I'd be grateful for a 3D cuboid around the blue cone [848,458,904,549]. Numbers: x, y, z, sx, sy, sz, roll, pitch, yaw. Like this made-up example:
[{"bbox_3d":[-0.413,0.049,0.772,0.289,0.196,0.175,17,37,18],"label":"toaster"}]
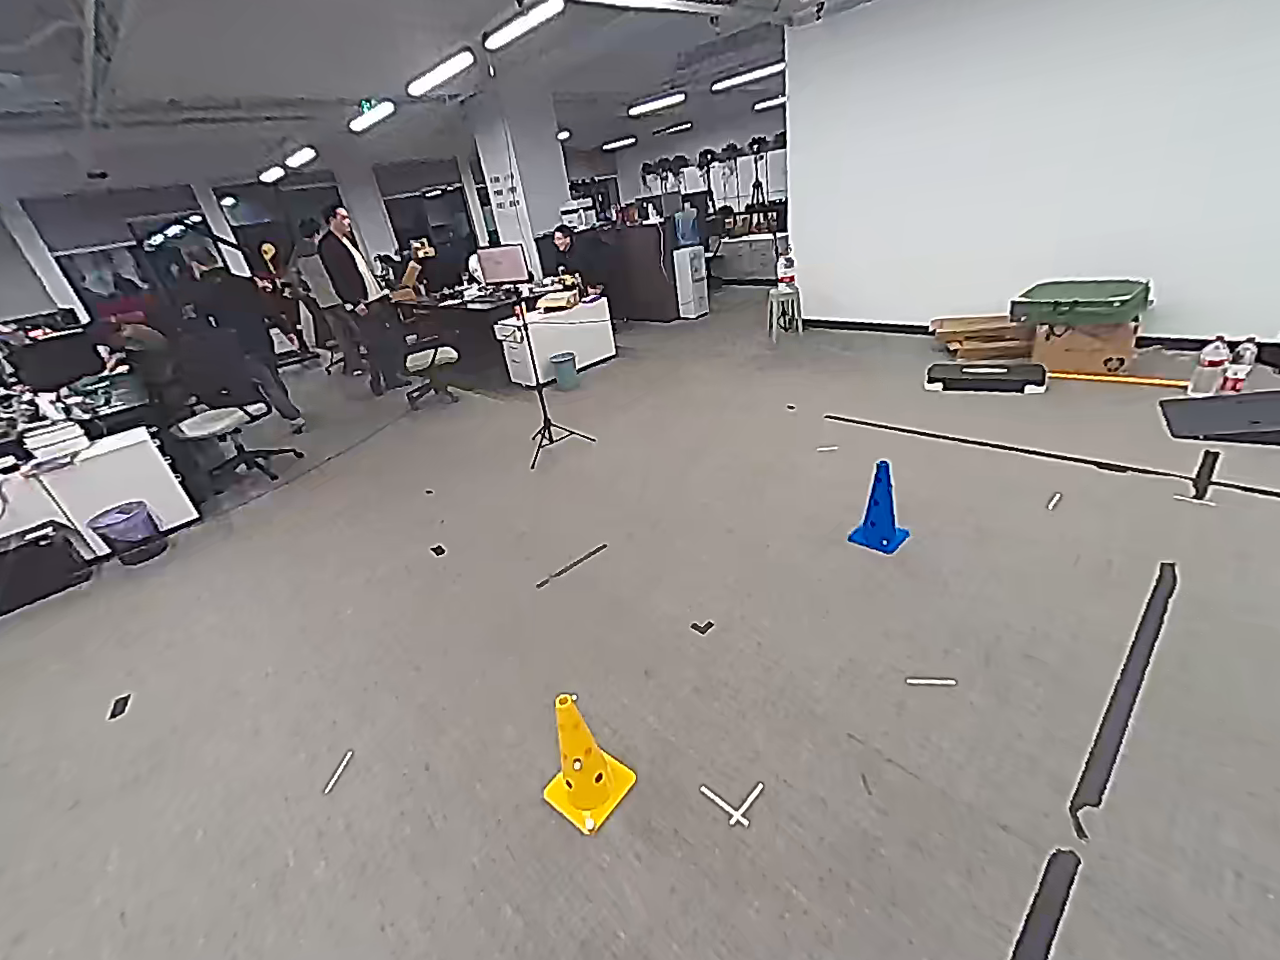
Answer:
[{"bbox_3d":[0.988,0.084,2.241,0.193,0.380,0.192,-30,32,-33],"label":"blue cone"}]
